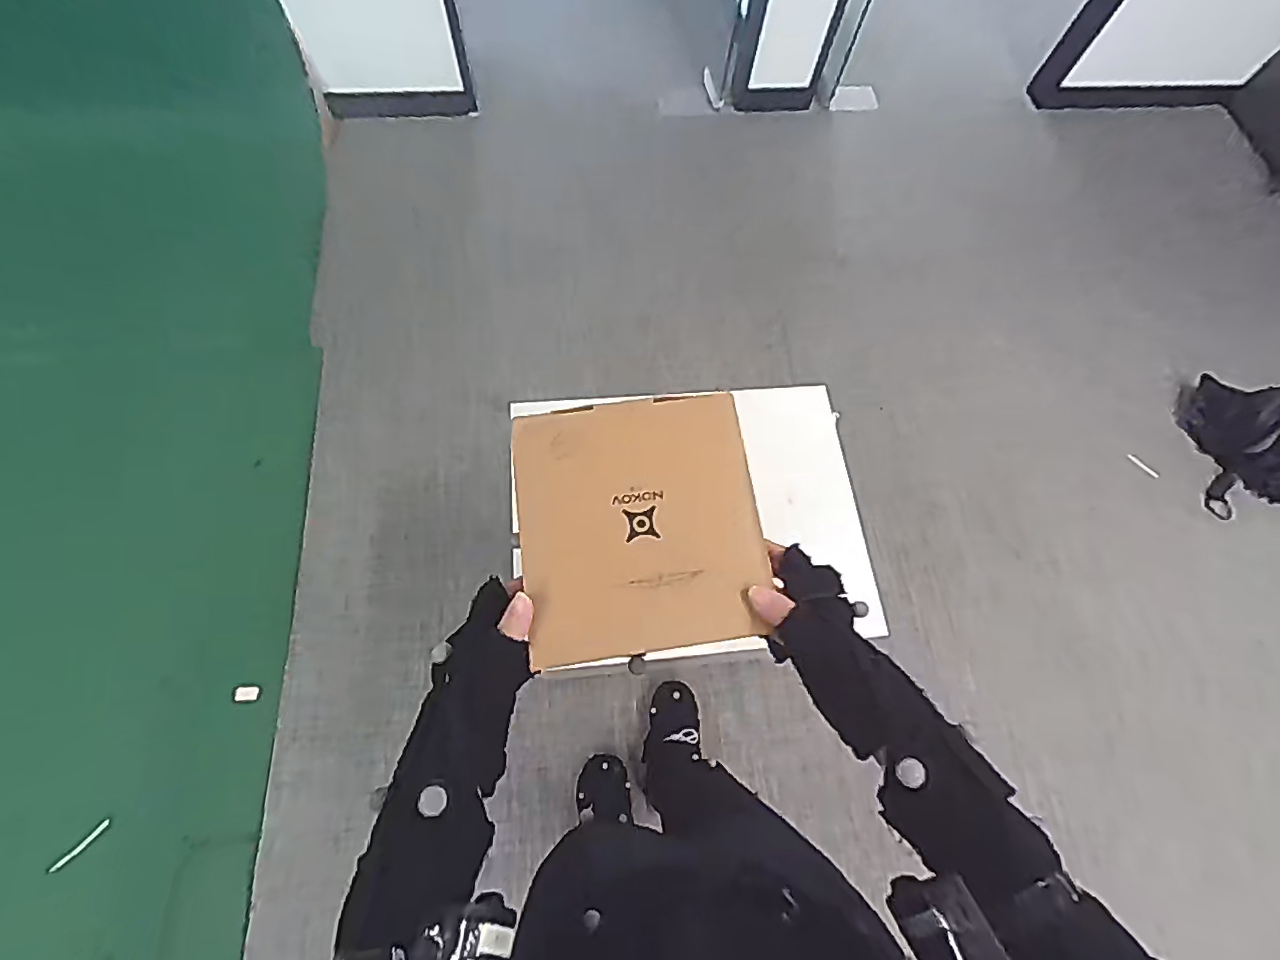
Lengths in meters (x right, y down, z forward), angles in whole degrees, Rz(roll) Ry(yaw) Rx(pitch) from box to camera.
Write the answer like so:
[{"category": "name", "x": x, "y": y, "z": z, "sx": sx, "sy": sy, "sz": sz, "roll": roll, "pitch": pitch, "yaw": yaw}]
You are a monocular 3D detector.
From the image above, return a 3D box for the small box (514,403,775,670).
[{"category": "small box", "x": -0.005, "y": 0.057, "z": 0.455, "sx": 0.168, "sy": 0.176, "sz": 0.179, "roll": -8, "pitch": 73, "yaw": -4}]
